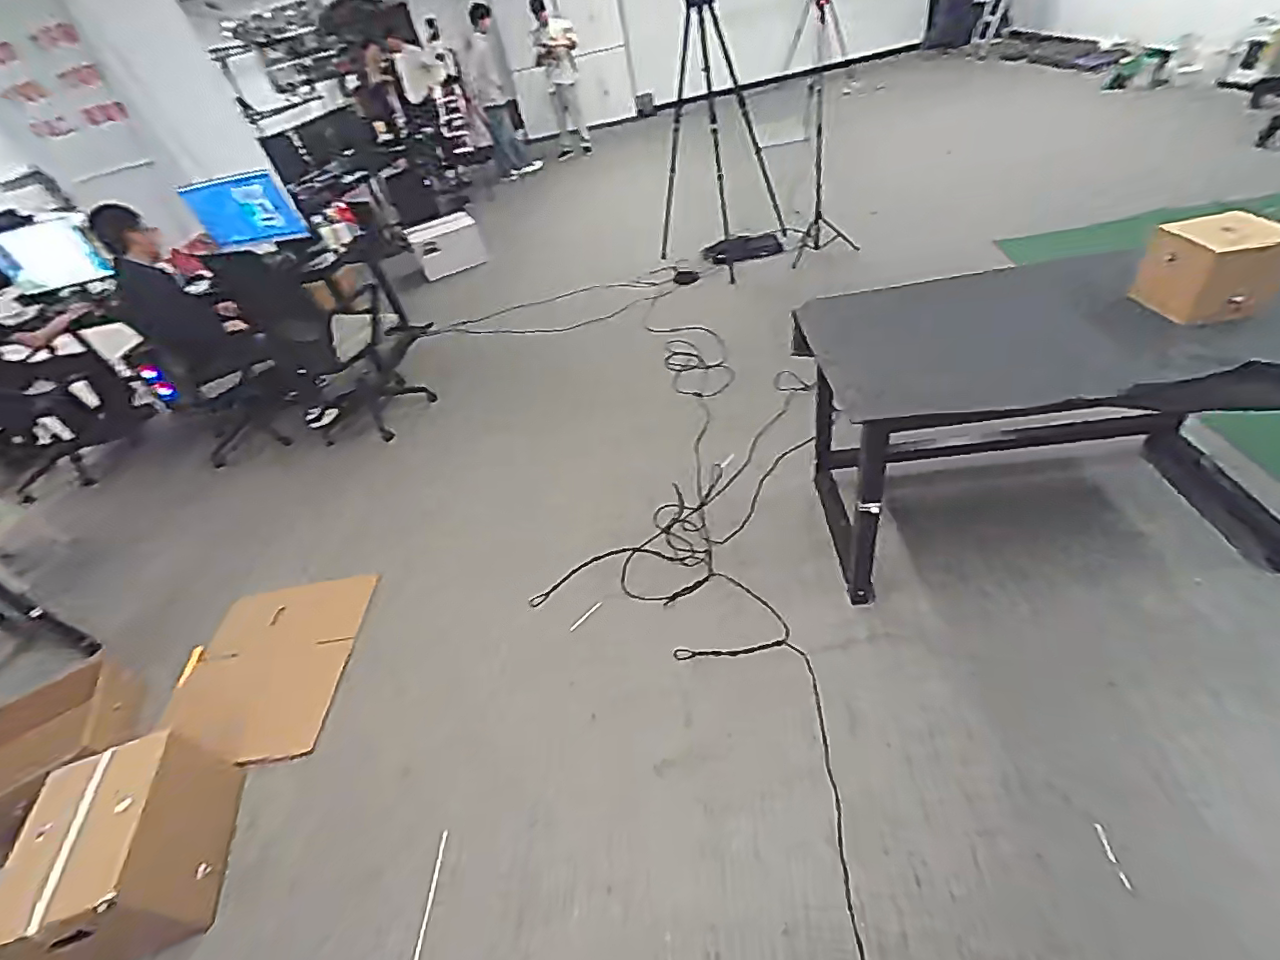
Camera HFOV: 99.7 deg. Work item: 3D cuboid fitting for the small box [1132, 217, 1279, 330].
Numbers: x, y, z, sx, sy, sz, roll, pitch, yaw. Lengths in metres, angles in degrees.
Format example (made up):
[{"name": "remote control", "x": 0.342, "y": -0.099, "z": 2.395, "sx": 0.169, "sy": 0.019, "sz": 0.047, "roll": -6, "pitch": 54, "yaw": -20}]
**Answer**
[{"name": "small box", "x": 1.253, "y": -0.455, "z": 1.193, "sx": 0.168, "sy": 0.176, "sz": 0.179, "roll": -9, "pitch": 41, "yaw": 8}]
